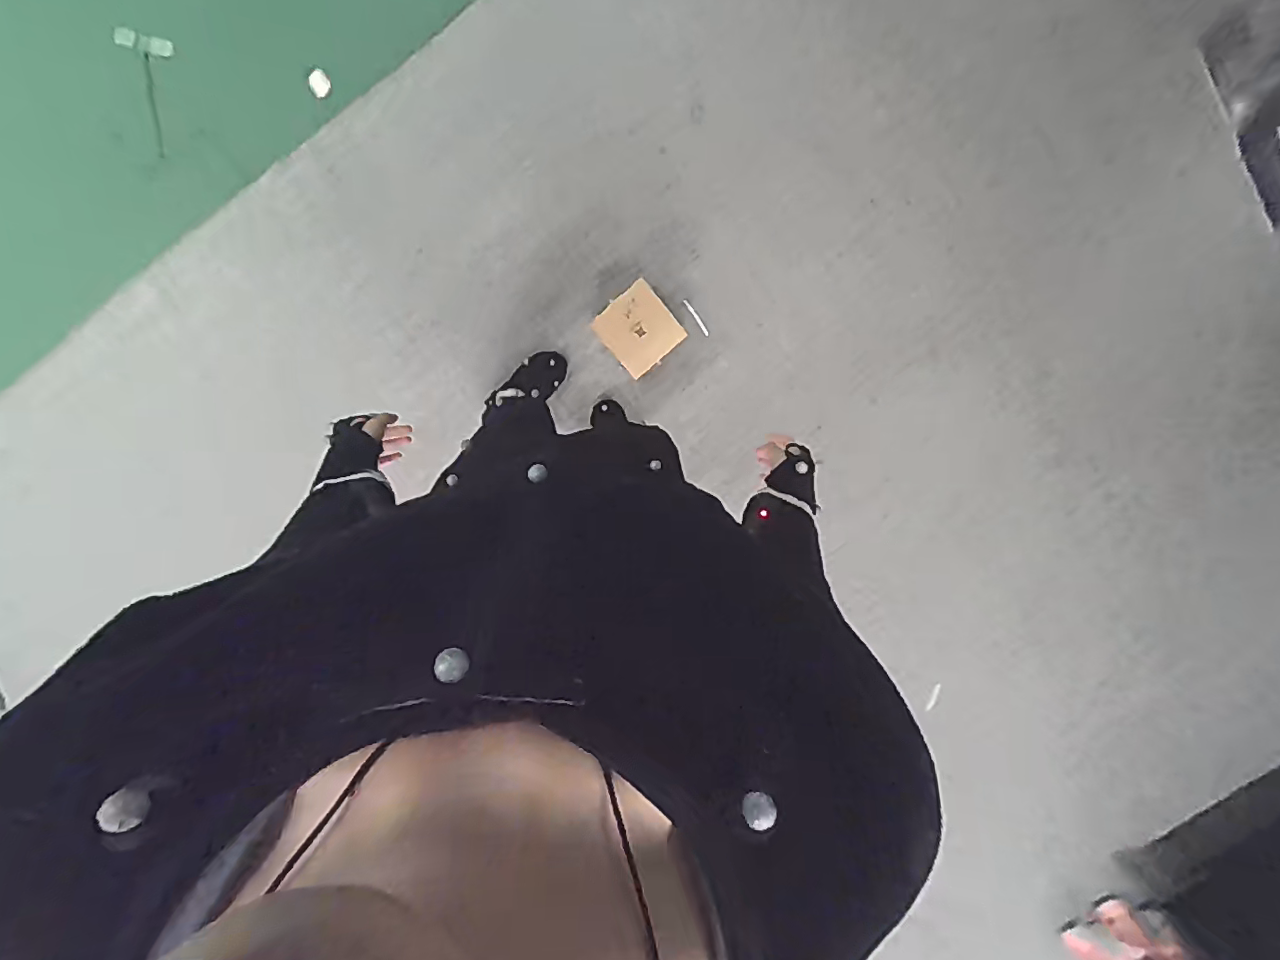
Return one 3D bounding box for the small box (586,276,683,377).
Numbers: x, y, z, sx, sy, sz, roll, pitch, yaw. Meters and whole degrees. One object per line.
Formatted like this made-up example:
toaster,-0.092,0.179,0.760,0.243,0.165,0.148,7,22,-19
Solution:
small box,-0.015,-0.379,1.350,0.168,0.176,0.179,-39,101,4
